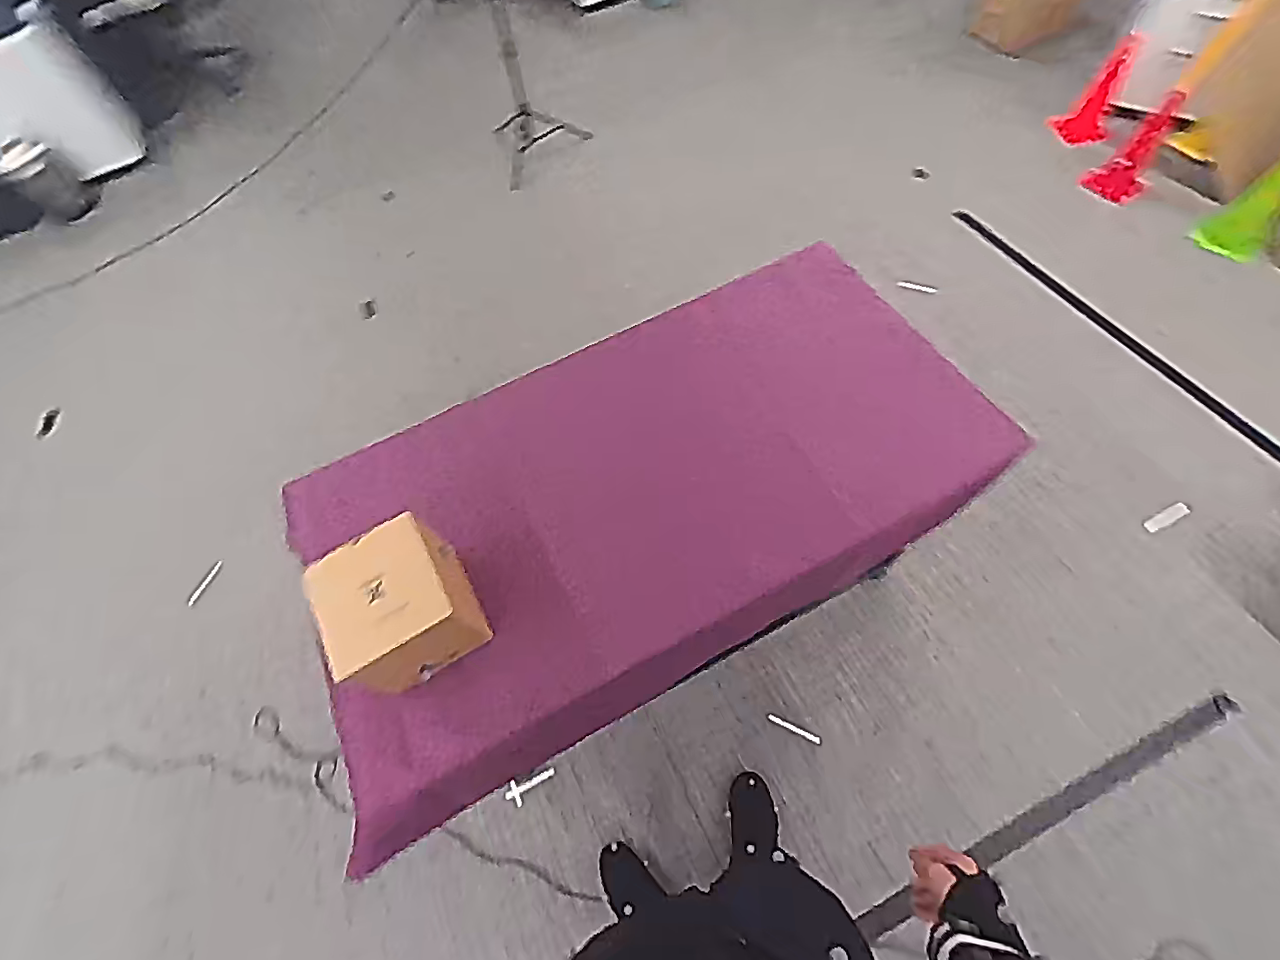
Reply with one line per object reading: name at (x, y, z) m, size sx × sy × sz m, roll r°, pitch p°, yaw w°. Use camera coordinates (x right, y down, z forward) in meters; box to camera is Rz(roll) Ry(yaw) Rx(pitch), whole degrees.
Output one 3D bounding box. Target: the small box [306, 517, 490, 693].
small box at (-0.351, 0.191, 0.805) m, size 0.168 × 0.176 × 0.179 m, roll -30°, pitch 63°, yaw -10°
